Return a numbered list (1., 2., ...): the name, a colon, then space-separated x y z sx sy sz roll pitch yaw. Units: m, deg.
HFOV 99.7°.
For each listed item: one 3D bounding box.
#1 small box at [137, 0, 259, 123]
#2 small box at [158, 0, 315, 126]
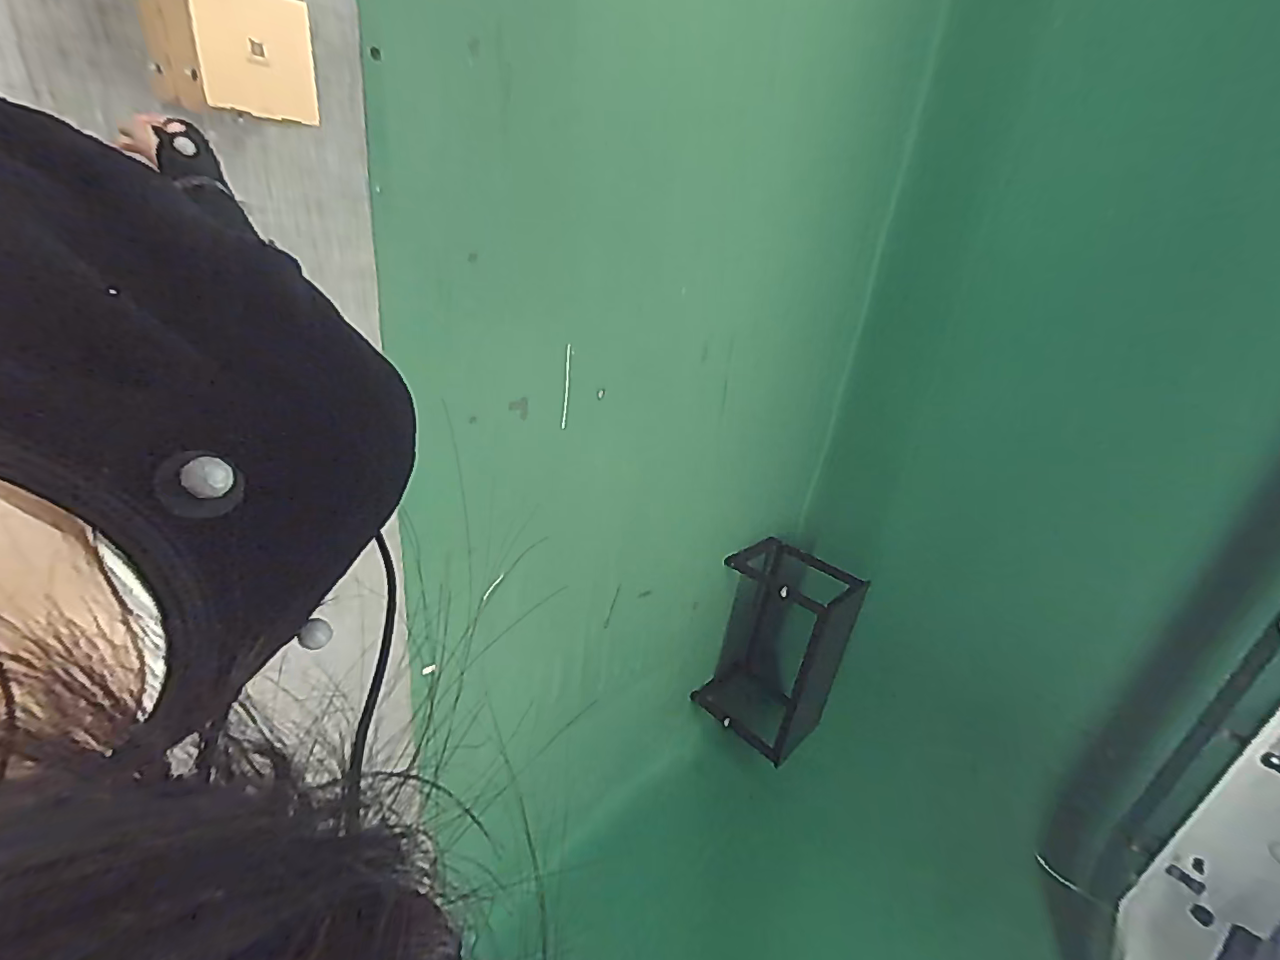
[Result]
1. small box: -0.796 -0.775 0.999 0.179 0.176 0.168 -16 123 -45
2. small box: -0.677 -0.715 0.908 0.168 0.176 0.179 -19 127 -44
